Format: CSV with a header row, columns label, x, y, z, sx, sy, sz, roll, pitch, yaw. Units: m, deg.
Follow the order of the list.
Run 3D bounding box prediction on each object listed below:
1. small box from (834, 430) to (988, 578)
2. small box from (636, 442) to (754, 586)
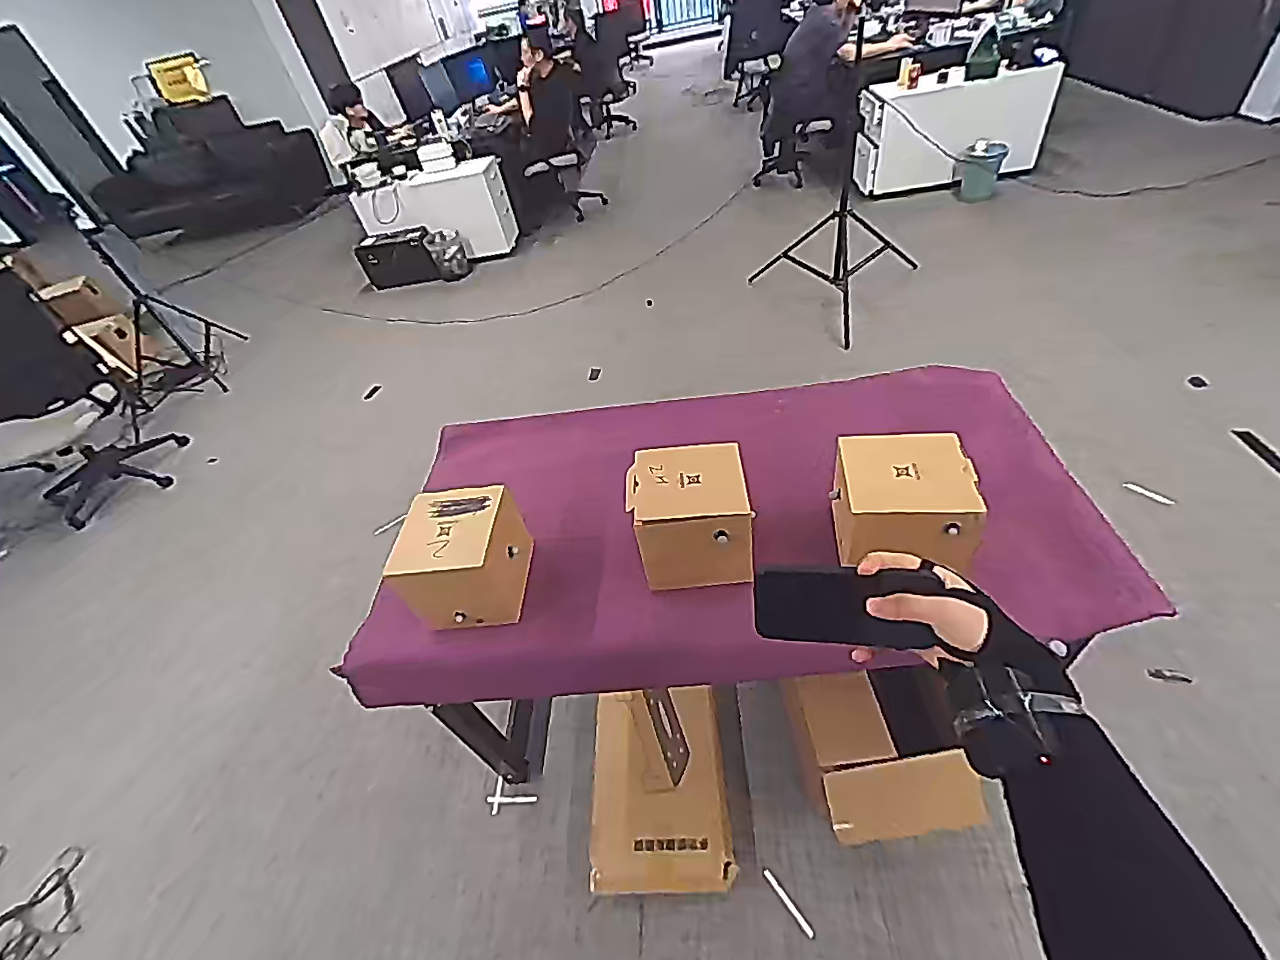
label,x,y,z,sx,sy,sz,roll,pitch,yaw
small box,0.406,0.040,0.848,0.179,0.176,0.168,-2,45,12
small box,0.092,0.060,0.902,0.179,0.176,0.168,-7,42,7
